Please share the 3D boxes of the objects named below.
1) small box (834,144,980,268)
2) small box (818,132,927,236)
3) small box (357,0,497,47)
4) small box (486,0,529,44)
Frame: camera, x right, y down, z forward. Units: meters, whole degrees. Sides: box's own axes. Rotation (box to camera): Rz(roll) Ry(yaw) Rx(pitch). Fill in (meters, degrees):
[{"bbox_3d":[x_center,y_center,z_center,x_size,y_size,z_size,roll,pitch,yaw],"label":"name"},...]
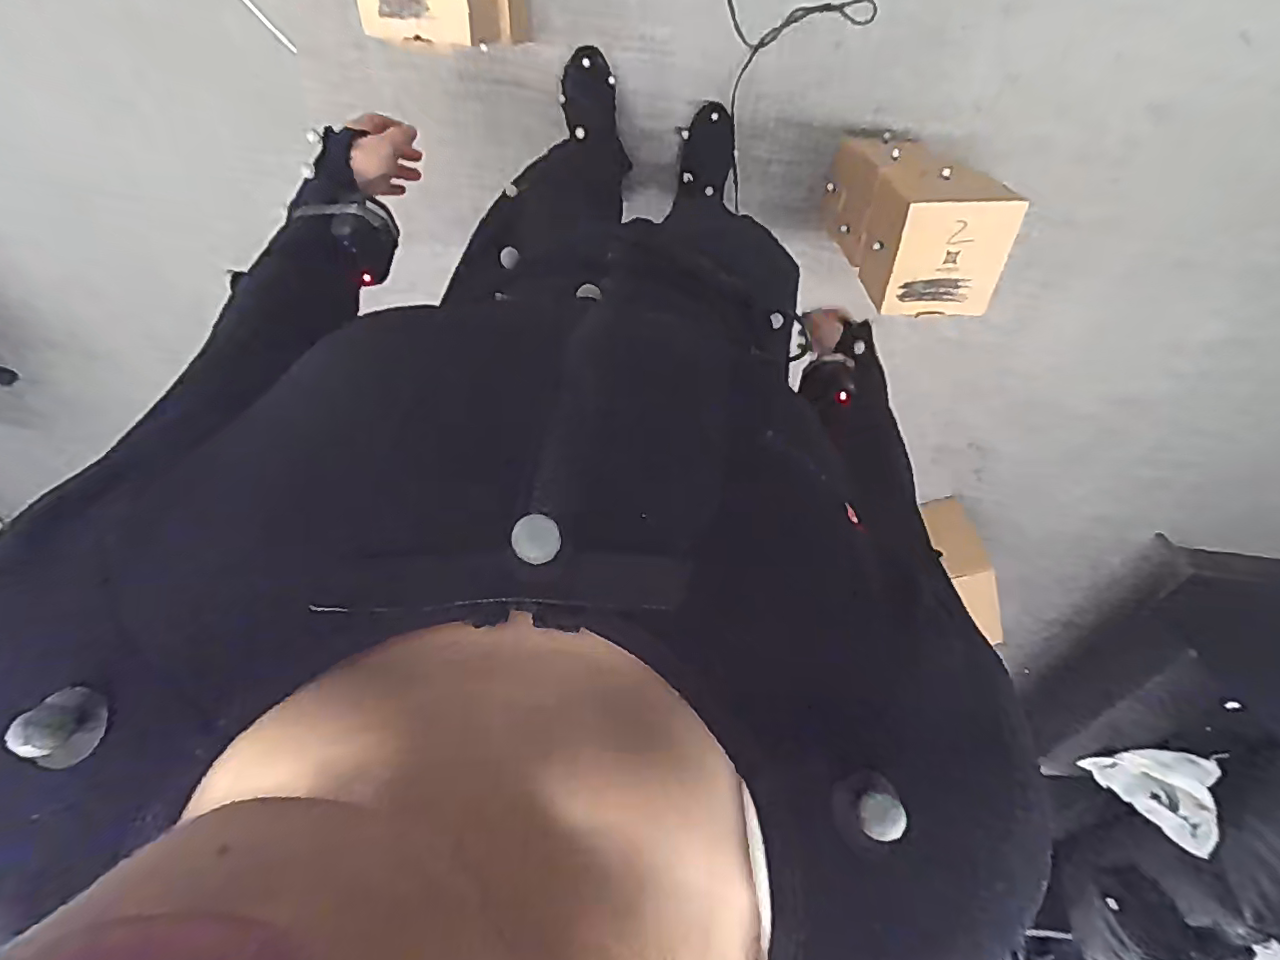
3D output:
[{"bbox_3d":[0.478,-0.513,1.007,0.179,0.176,0.168,2,134,1],"label":"small box"},{"bbox_3d":[0.489,-0.615,1.133,0.179,0.176,0.168,5,133,0],"label":"small box"},{"bbox_3d":[-0.324,-0.783,0.822,0.168,0.176,0.179,5,131,0],"label":"small box"},{"bbox_3d":[-0.297,-0.886,0.948,0.168,0.176,0.179,5,132,1],"label":"small box"}]
